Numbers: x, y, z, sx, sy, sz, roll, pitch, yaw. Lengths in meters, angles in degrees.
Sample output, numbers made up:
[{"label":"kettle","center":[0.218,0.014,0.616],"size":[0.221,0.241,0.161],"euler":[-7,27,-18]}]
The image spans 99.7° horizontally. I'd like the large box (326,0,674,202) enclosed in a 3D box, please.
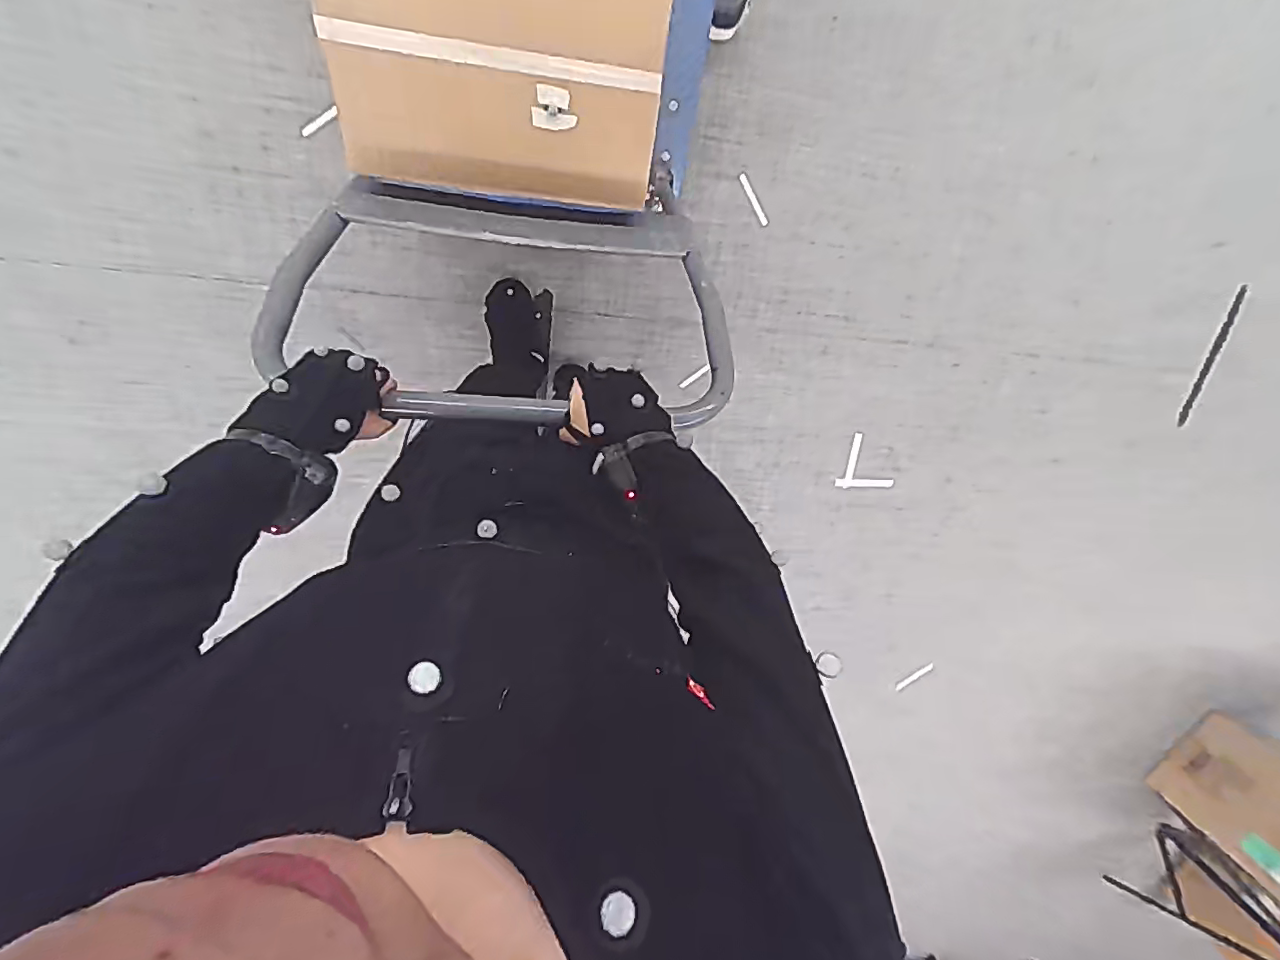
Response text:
[{"label":"large box","center":[-0.184,-0.622,0.769],"size":[0.408,0.320,0.320],"euler":[1,133,-11]}]
